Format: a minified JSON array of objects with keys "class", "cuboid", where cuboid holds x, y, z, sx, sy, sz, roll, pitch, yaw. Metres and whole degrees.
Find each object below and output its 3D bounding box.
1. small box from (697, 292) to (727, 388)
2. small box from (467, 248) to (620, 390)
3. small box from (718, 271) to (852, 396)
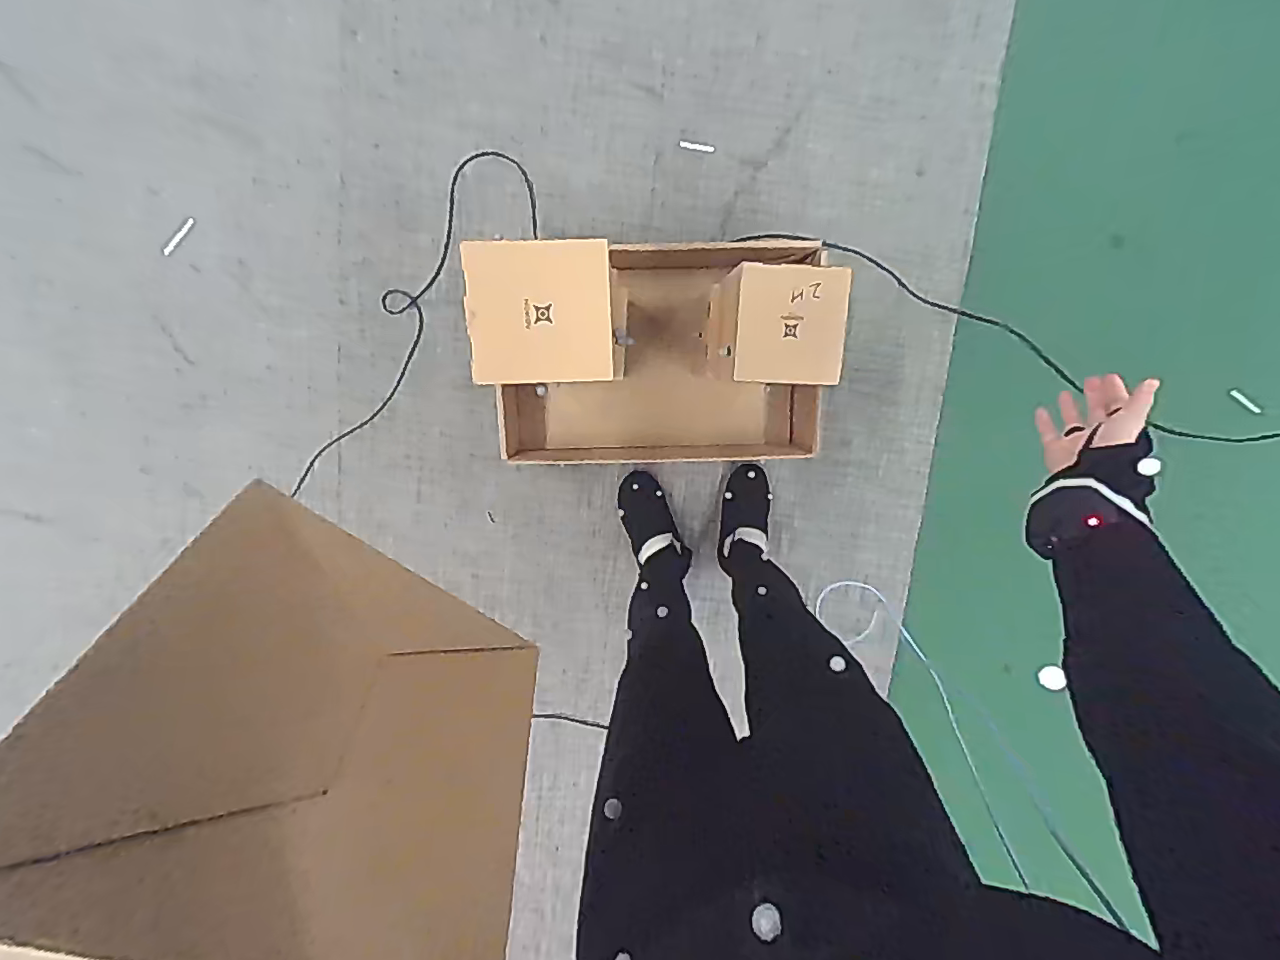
[{"class":"small box","cuboid":[0.210,-0.263,1.055,0.179,0.176,0.168,3,100,-1]},{"class":"small box","cuboid":[-0.117,-0.209,0.727,0.179,0.176,0.168,-2,102,0]},{"class":"small box","cuboid":[0.228,-0.233,0.893,0.168,0.176,0.179,3,99,-3]}]
